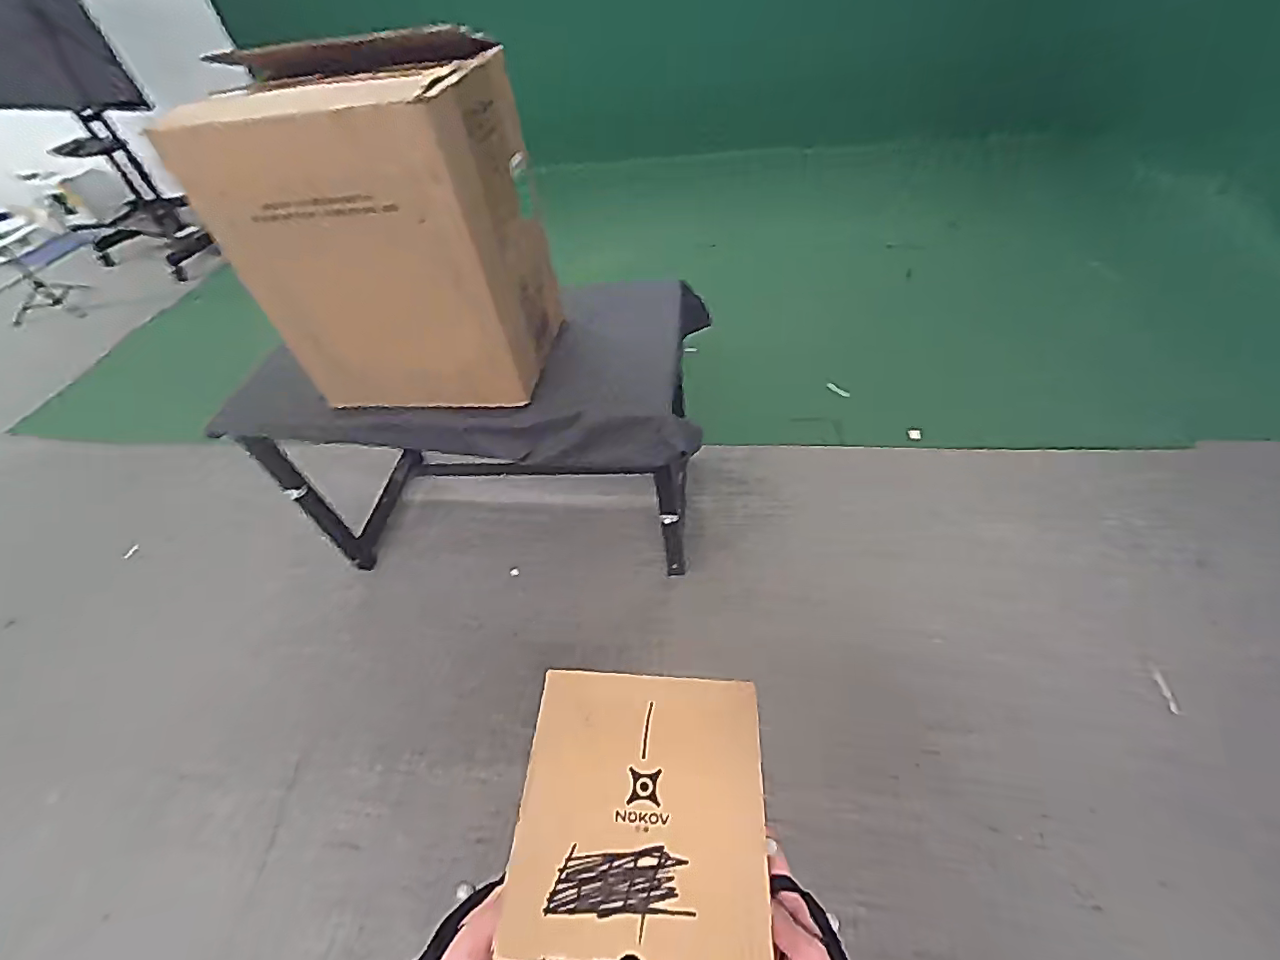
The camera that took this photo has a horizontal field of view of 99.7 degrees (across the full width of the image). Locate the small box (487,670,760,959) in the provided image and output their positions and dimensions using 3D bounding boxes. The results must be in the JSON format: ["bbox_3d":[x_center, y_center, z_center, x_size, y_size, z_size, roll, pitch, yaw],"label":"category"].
[{"bbox_3d":[-0.001,0.272,0.426,0.168,0.176,0.179,1,47,4],"label":"small box"}]
